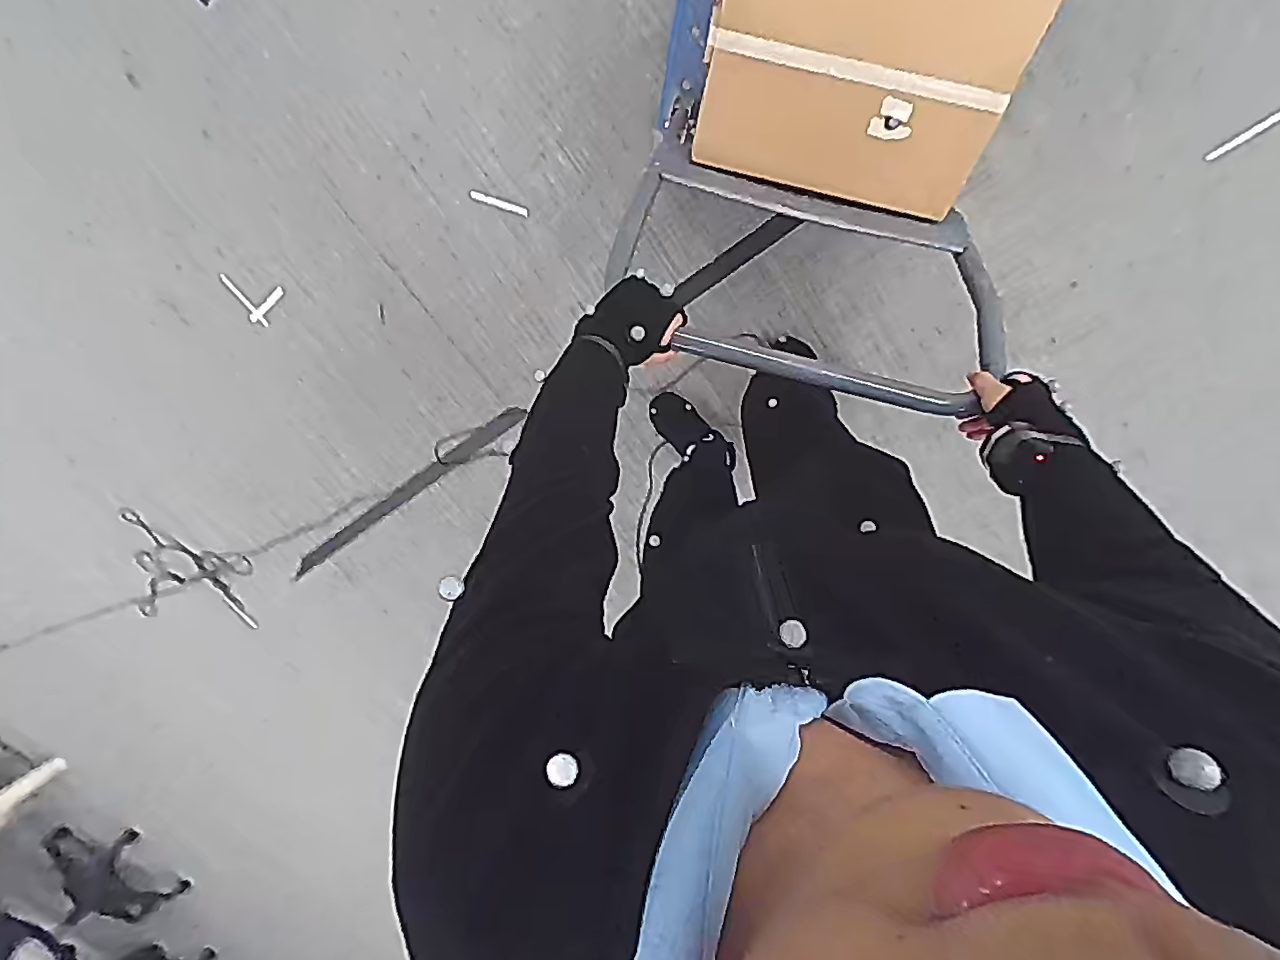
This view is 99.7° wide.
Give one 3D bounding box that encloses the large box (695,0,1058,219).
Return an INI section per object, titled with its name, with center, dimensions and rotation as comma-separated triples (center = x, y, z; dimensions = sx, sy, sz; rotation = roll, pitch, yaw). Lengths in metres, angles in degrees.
[large box]
center = 0.323, -0.657, 0.842
dimensions = 0.408, 0.320, 0.320
rotation = 14, 136, 0
